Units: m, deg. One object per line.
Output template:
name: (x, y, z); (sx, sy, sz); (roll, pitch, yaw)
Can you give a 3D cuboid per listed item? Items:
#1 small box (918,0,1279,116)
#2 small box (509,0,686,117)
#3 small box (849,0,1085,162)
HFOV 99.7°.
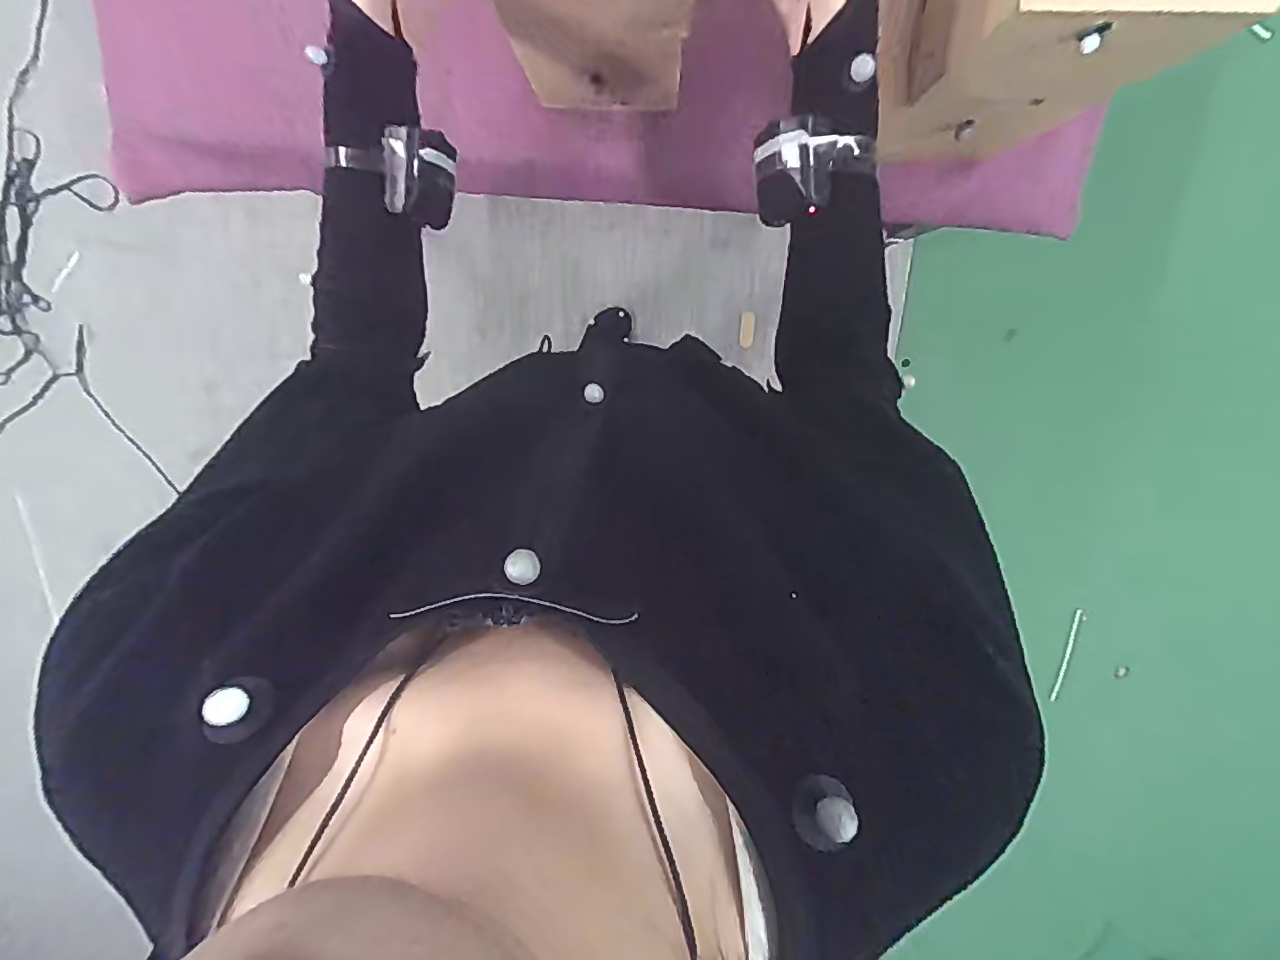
small box: (0.333, -0.406, 0.405); (0.168, 0.176, 0.179); (3, 105, 4)
small box: (-0.035, -0.509, 0.568); (0.168, 0.176, 0.179); (3, 104, 2)
small box: (0.340, -0.448, 0.565); (0.179, 0.176, 0.168); (2, 106, 4)
